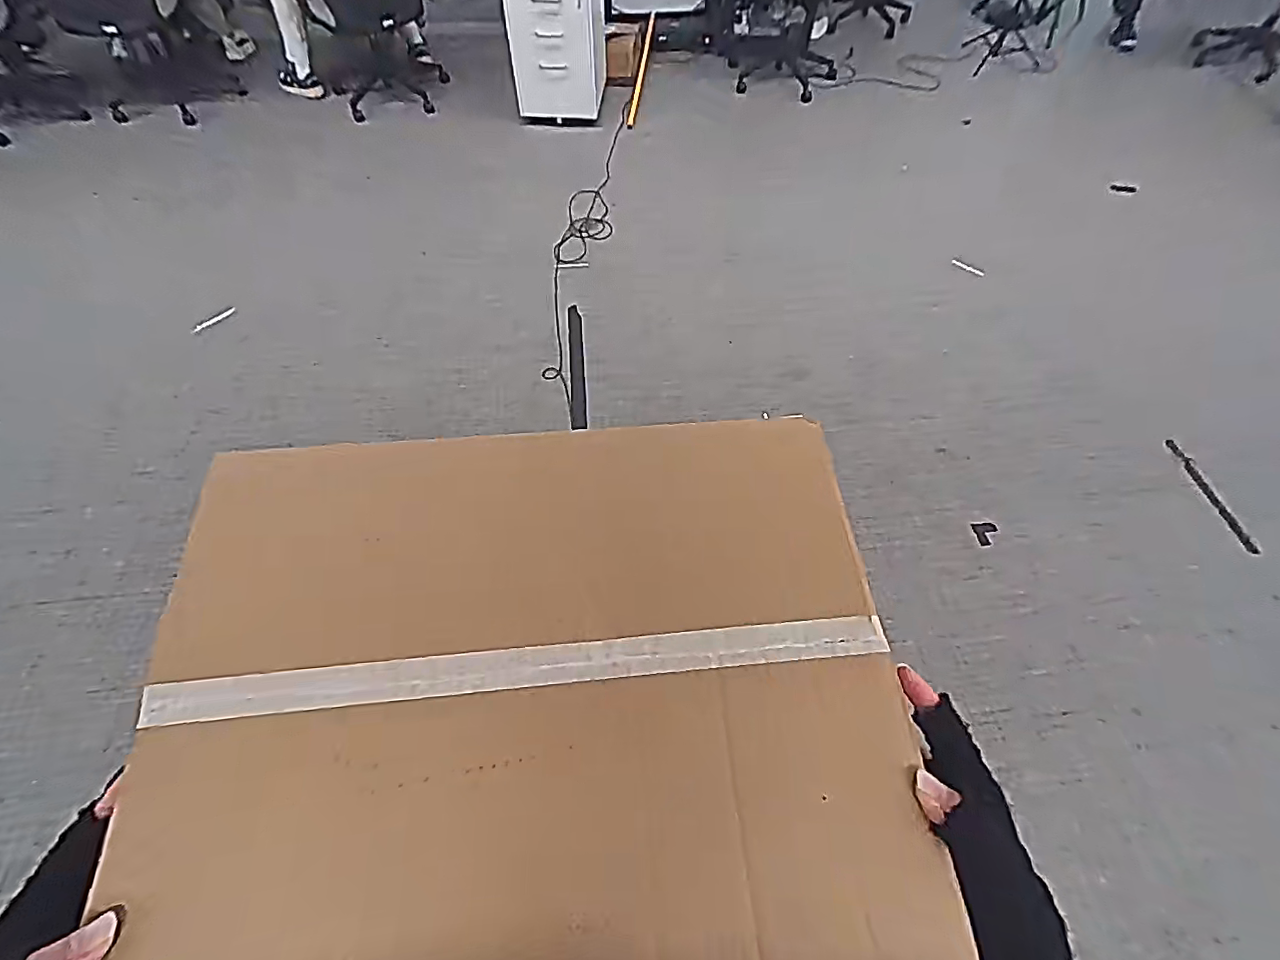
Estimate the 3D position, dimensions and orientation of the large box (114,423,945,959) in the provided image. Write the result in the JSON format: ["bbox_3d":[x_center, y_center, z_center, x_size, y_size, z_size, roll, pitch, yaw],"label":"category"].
[{"bbox_3d":[-0.065,0.177,0.451,0.408,0.320,0.320,-4,63,-4],"label":"large box"}]
